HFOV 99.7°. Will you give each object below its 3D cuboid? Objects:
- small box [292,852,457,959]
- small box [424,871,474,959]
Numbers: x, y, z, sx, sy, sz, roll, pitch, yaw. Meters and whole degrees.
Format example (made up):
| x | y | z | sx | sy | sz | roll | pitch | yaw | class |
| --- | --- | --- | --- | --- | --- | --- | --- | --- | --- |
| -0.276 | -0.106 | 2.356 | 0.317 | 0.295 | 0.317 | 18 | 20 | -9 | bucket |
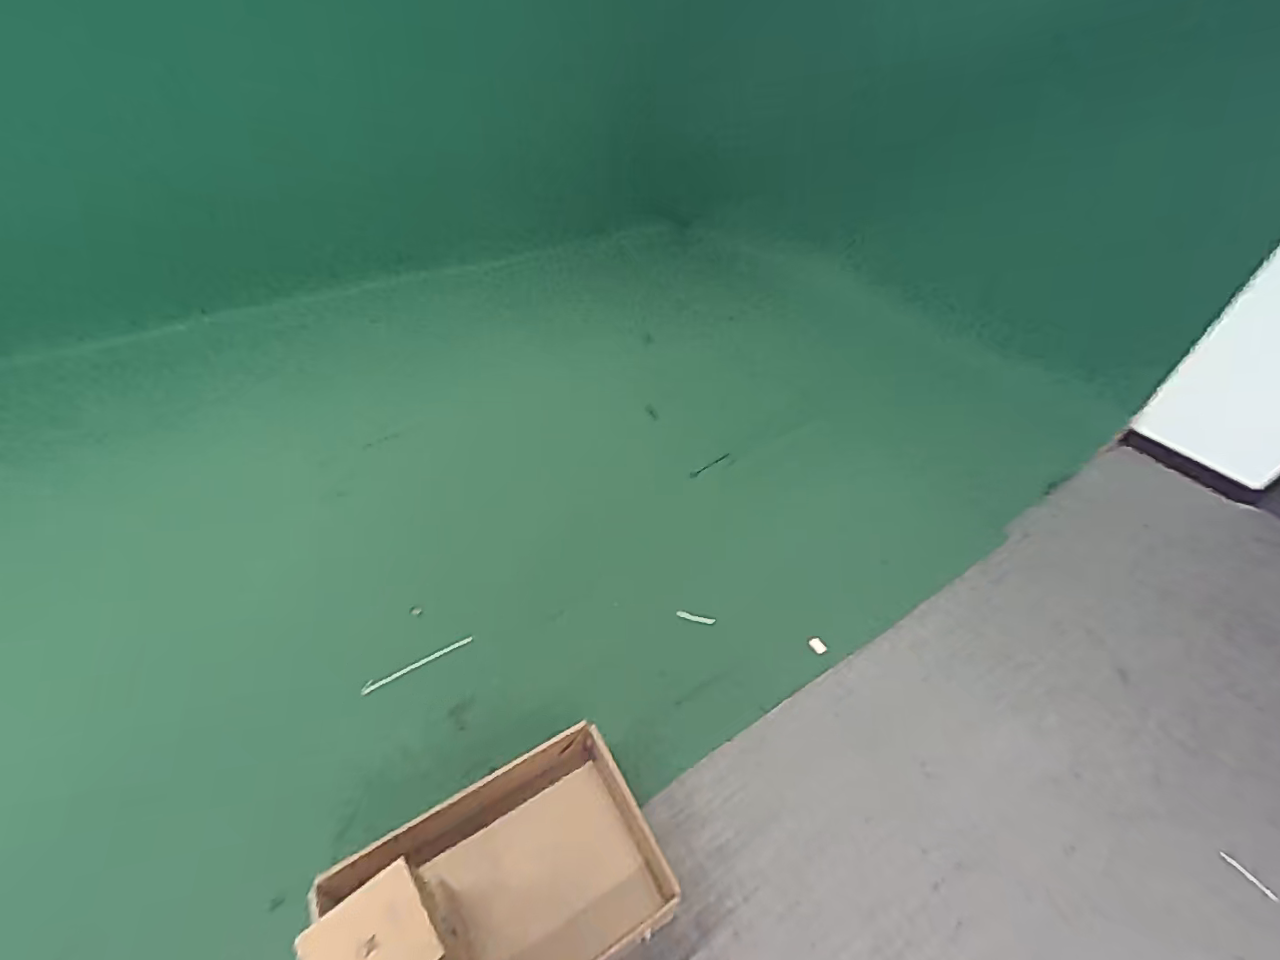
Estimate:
| x | y | z | sx | sy | sz | roll | pitch | yaw | class |
| --- | --- | --- | --- | --- | --- | --- | --- | --- | --- |
| -0.427 | 0.768 | 0.891 | 0.179 | 0.176 | 0.168 | -29 | 55 | -30 | small box |
| -0.430 | 0.880 | 1.010 | 0.179 | 0.176 | 0.168 | -22 | 51 | -22 | small box |
